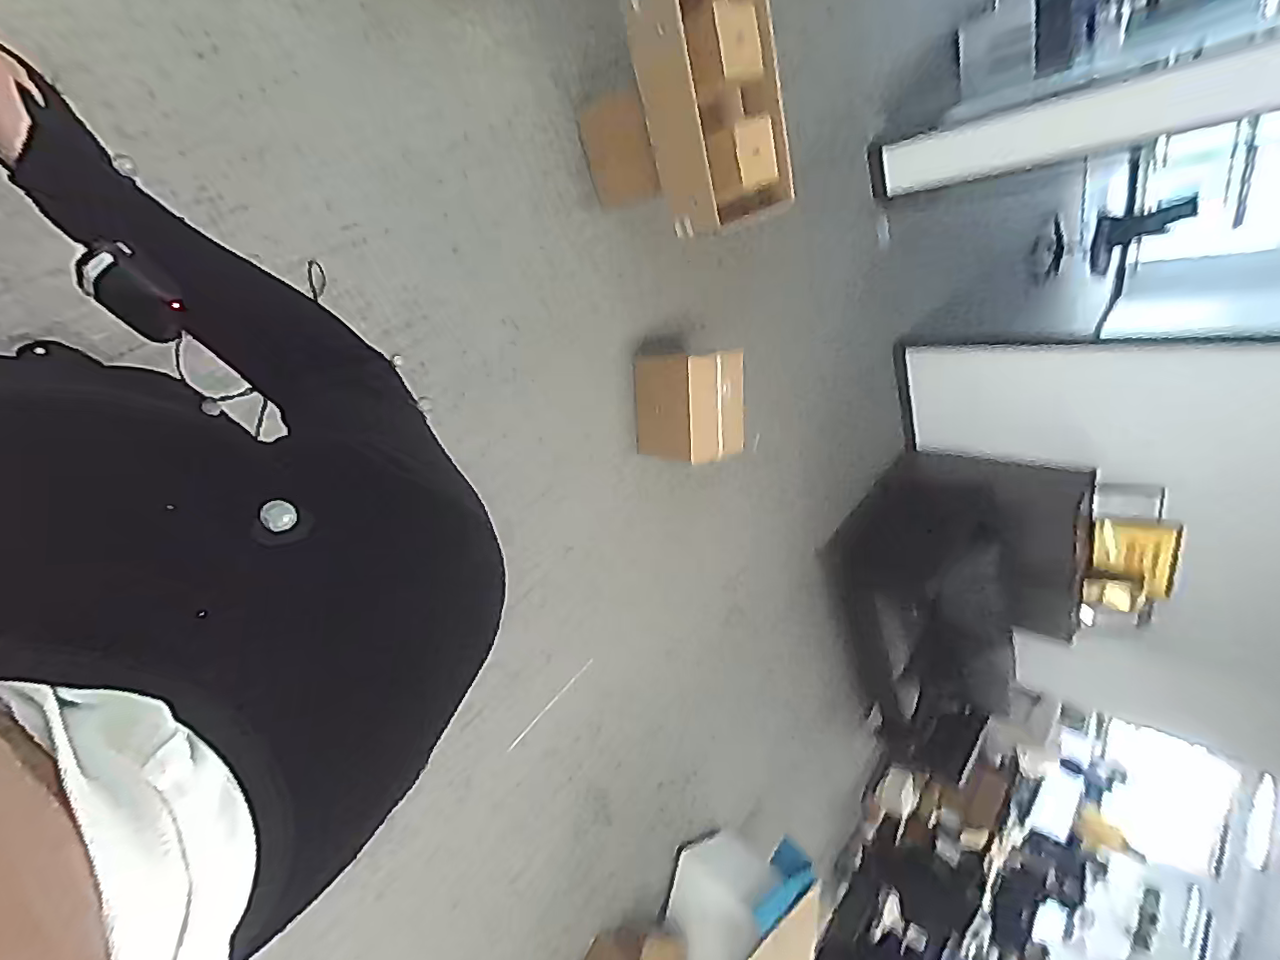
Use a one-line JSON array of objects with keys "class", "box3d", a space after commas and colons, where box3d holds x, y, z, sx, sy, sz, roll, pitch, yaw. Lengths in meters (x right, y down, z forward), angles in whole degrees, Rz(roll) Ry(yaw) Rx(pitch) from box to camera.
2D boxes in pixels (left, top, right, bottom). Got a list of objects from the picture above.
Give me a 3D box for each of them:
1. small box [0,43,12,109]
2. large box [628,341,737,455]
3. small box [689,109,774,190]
[{"class": "small box", "box3d": [-0.609, -0.398, 0.392, 0.168, 0.176, 0.179, -12, 115, -40]}, {"class": "large box", "box3d": [0.173, -0.341, 2.178, 0.320, 0.320, 0.408, -18, 112, -39]}, {"class": "small box", "box3d": [0.275, -0.985, 1.616, 0.179, 0.176, 0.168, -34, 122, -30]}]
